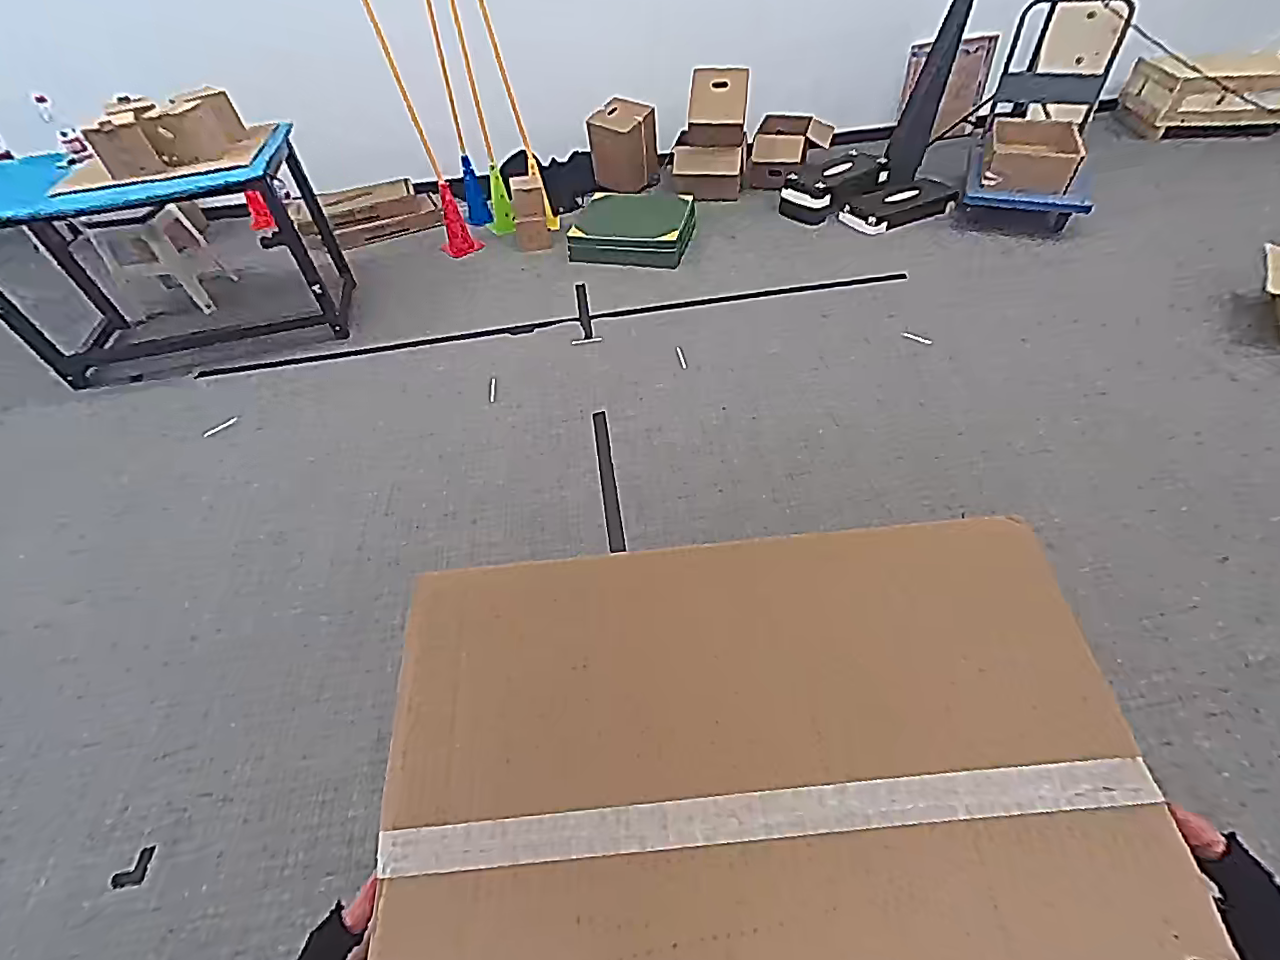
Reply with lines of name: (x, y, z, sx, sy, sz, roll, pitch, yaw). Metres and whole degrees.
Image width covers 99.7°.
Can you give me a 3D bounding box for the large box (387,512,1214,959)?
large box: (0.072, 0.250, 0.426, 0.408, 0.320, 0.320, -6, 61, 1)
